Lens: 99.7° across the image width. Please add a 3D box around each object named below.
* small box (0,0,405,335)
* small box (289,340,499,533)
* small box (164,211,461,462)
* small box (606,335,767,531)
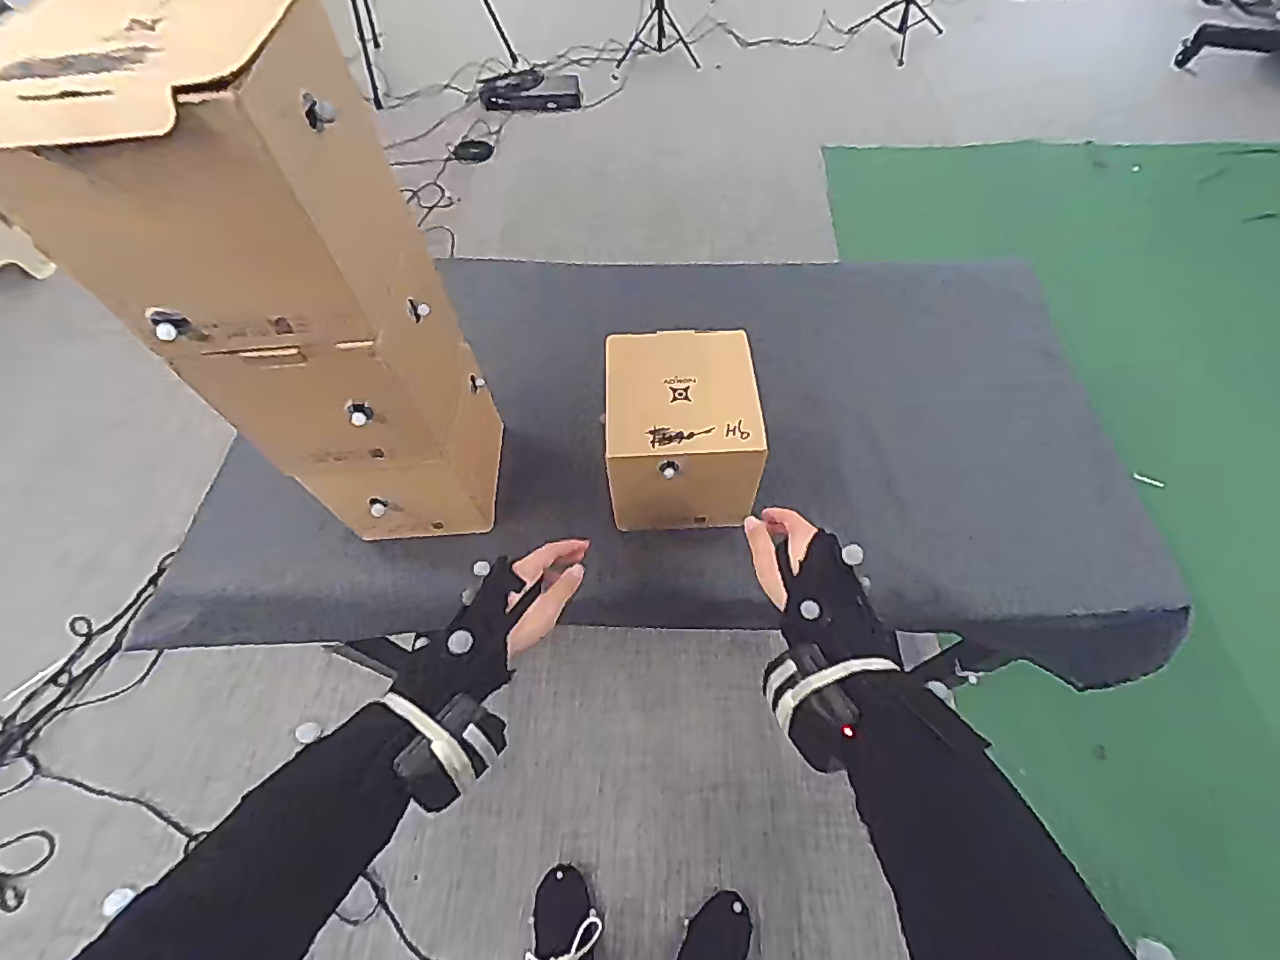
[{"bbox_3d":[-0.286,-0.218,0.383,0.168,0.176,0.179,-5,57,-3],"label":"small box"},{"bbox_3d":[-0.278,-0.044,0.660,0.168,0.176,0.179,-3,57,0],"label":"small box"},{"bbox_3d":[-0.283,-0.129,0.521,0.168,0.176,0.179,-3,56,-2],"label":"small box"},{"bbox_3d":[0.046,-0.053,0.655,0.168,0.176,0.179,-2,57,0],"label":"small box"}]
